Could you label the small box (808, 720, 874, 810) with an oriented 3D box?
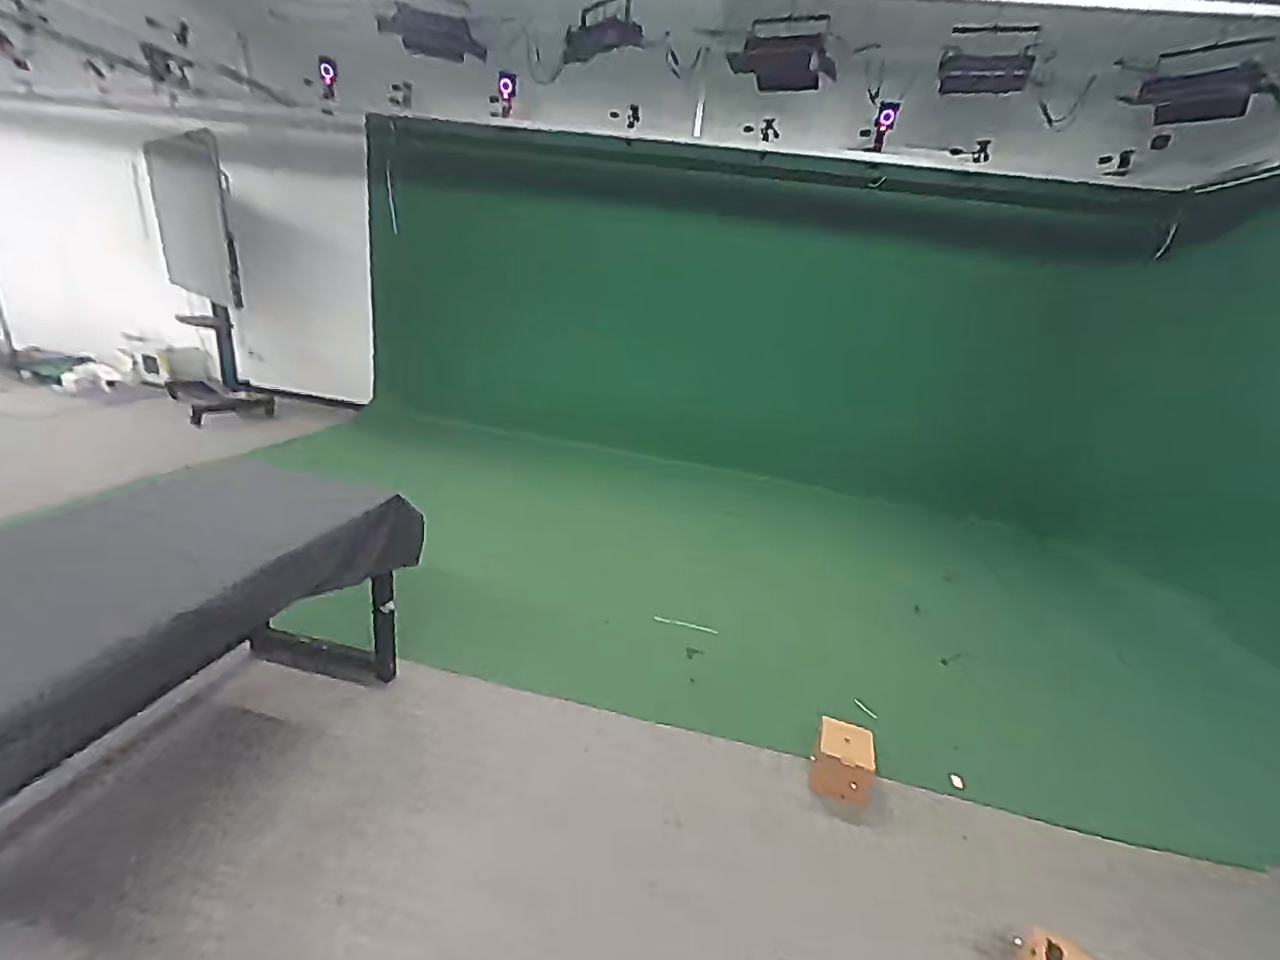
[{"bbox_3d":[0.661,0.940,1.784,0.168,0.176,0.179,15,19,15],"label":"small box"}]
